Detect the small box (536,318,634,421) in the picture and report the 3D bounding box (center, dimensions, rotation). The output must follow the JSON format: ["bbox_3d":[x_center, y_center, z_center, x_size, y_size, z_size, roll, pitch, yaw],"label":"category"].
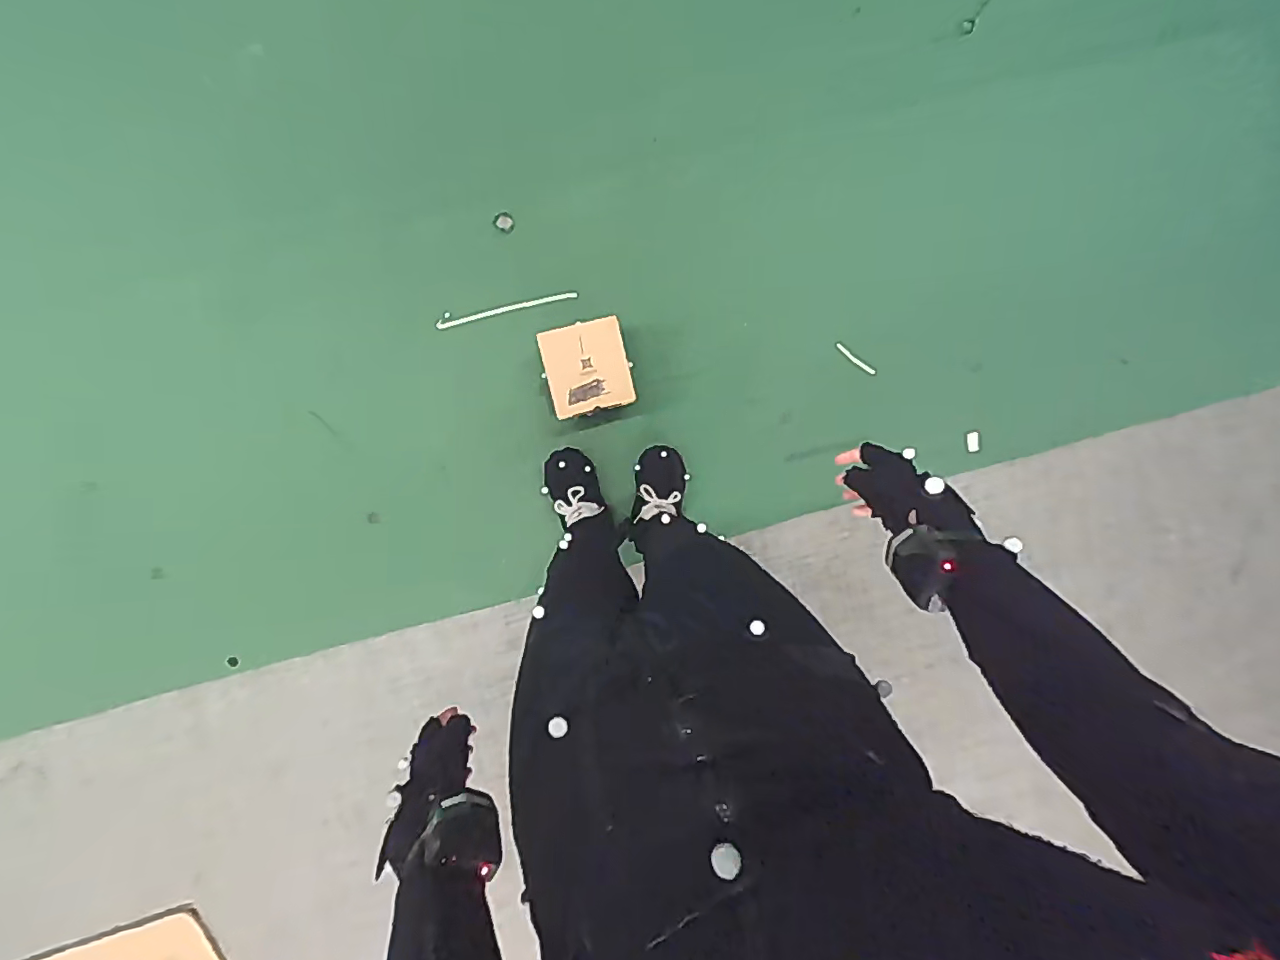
[{"bbox_3d":[-0.114,-0.233,1.159,0.168,0.176,0.179,-14,99,-3],"label":"small box"}]
